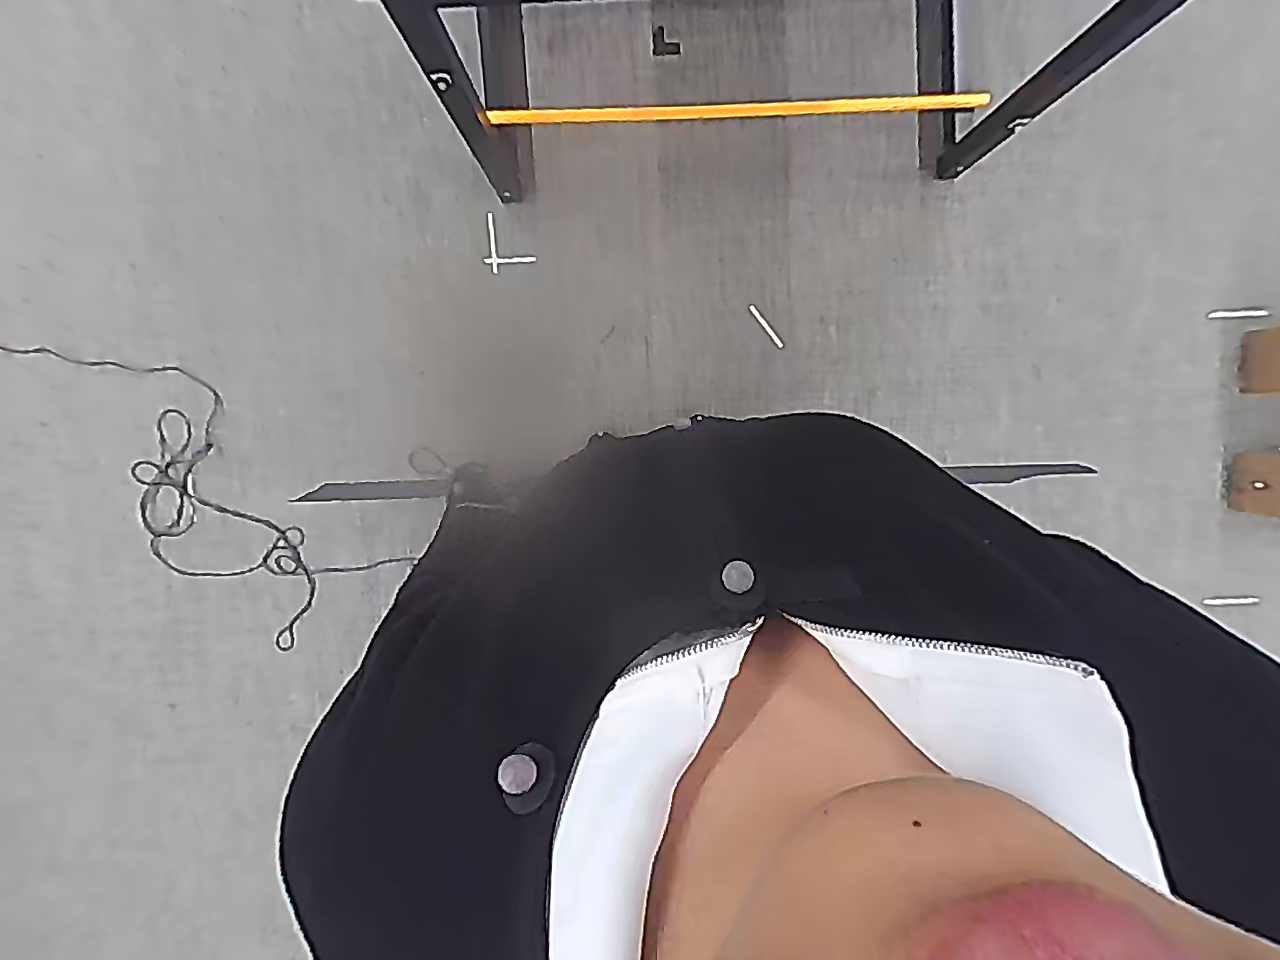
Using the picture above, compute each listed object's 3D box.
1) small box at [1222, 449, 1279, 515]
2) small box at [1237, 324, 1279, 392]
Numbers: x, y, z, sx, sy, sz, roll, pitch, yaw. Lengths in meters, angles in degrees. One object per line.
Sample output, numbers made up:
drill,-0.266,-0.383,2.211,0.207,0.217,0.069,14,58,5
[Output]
small box,1.723,0.005,1.440,0.179,0.176,0.168,-1,97,0
small box,1.715,-0.319,1.399,0.168,0.176,0.179,-4,96,-1
